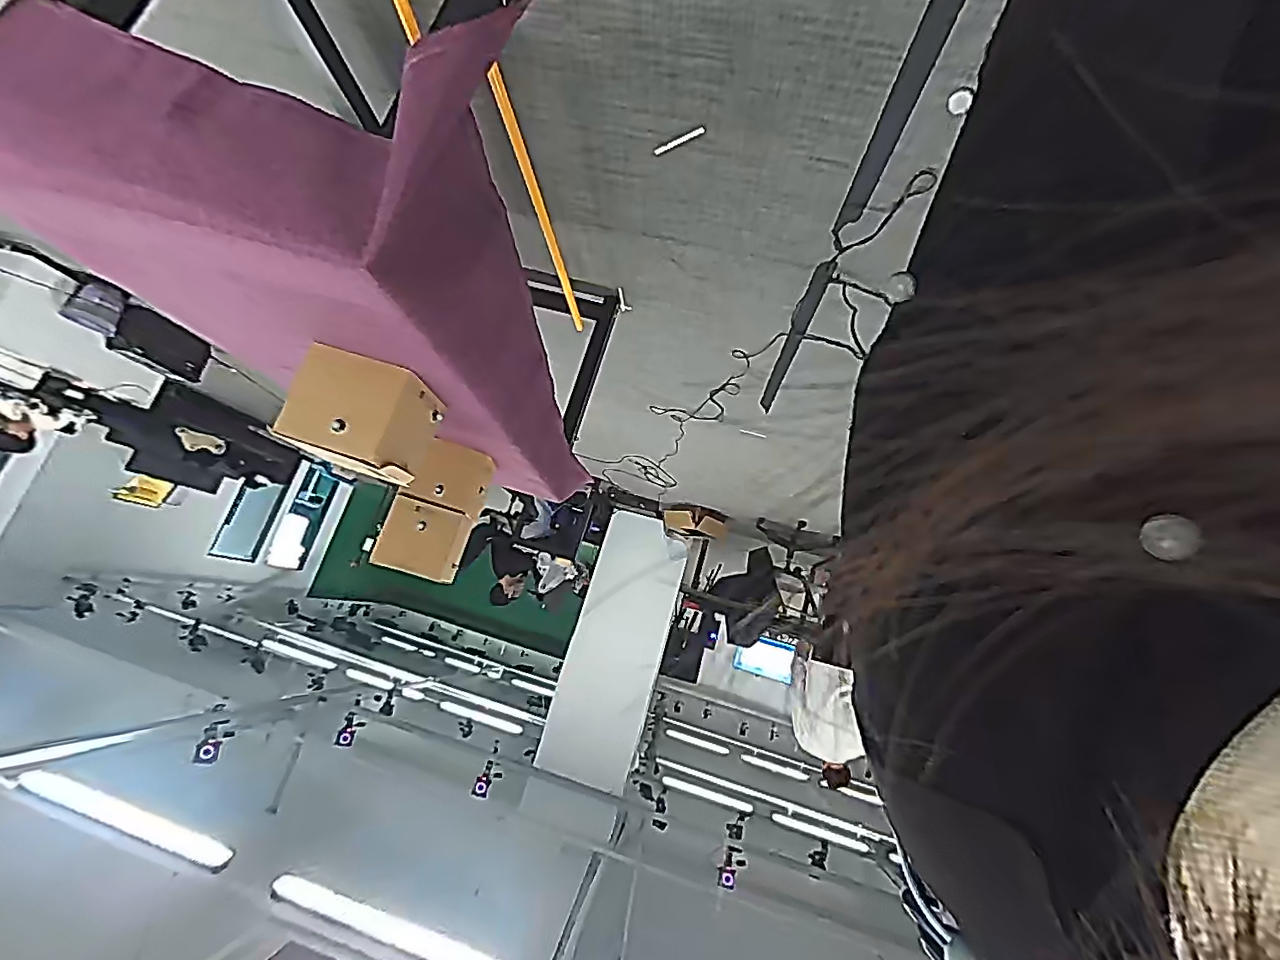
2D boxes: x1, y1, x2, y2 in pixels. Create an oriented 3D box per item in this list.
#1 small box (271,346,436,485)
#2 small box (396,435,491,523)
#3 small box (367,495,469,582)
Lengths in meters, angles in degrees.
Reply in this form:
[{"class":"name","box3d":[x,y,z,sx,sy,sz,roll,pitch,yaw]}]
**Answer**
[{"class":"small box","box3d":[-0.478,-0.109,0.938,0.179,0.176,0.168,17,167,4]},{"class":"small box","box3d":[-0.493,-0.002,1.390,0.179,0.176,0.168,18,166,-4]},{"class":"small box","box3d":[-0.540,0.149,1.345,0.168,0.176,0.179,17,165,-6]}]
